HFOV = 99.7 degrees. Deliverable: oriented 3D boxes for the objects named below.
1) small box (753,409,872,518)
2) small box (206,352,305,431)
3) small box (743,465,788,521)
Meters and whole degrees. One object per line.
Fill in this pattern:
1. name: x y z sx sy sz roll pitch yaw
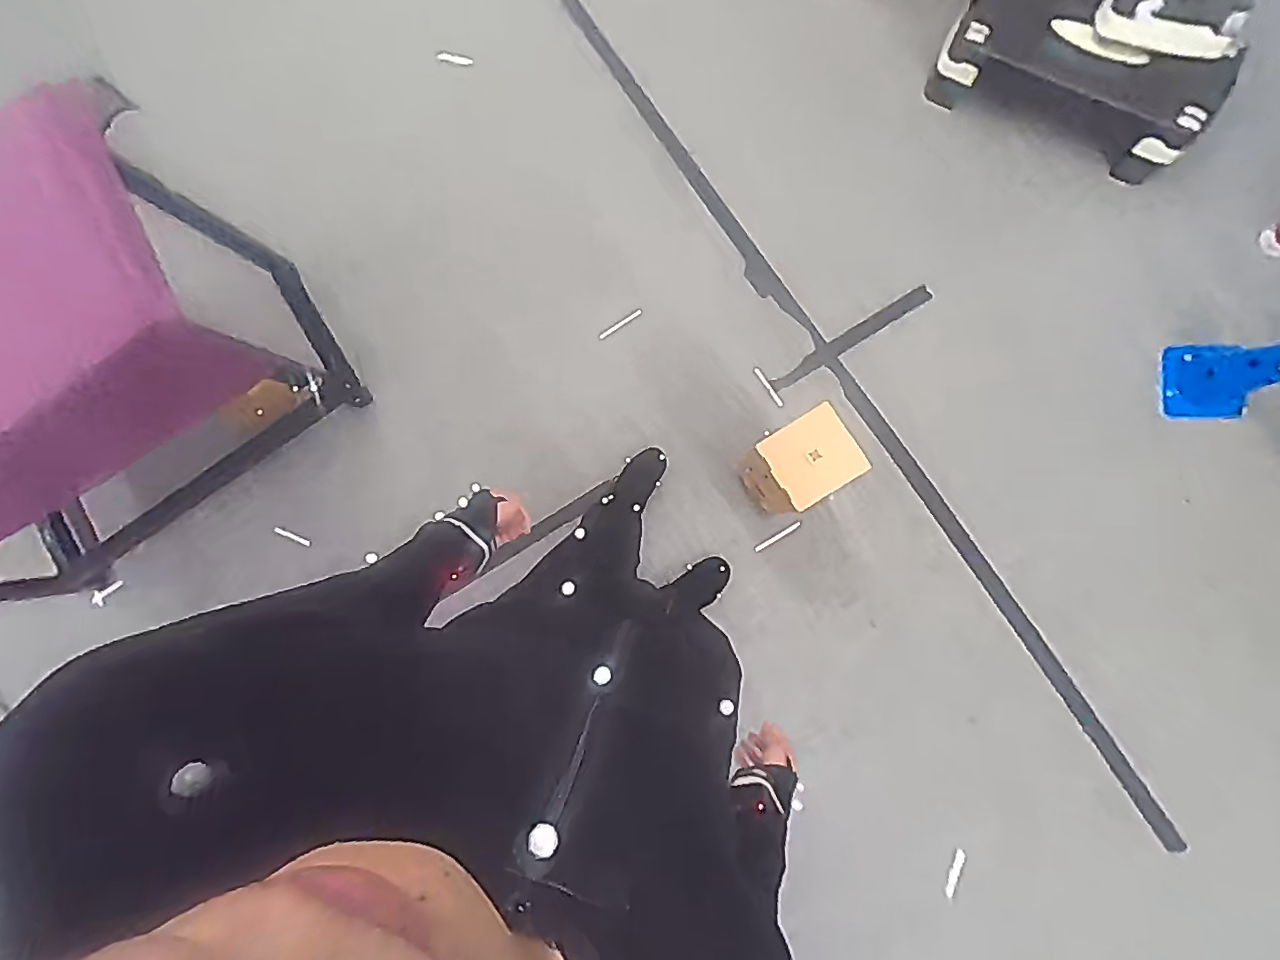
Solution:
1. small box: 0.366 -0.032 1.184 0.179 0.176 0.168 -32 84 4
2. small box: -1.221 -0.277 1.737 0.179 0.176 0.168 -32 82 4
3. small box: 0.404 -0.002 1.509 0.179 0.176 0.168 -36 83 4
